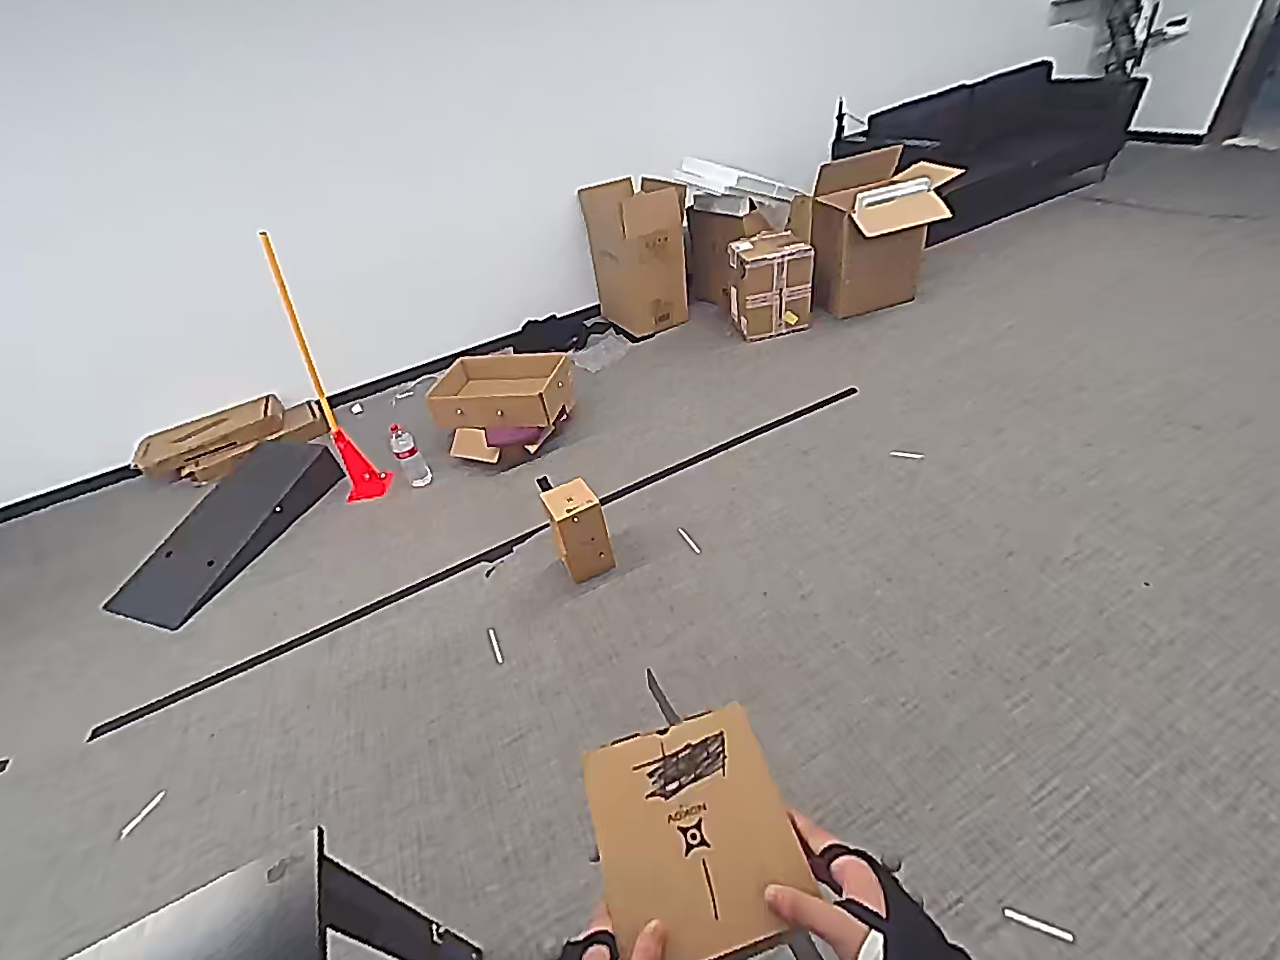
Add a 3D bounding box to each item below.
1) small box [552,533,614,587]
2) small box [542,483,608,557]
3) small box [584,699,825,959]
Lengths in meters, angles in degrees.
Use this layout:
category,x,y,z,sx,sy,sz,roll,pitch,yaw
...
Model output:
category,x,y,z,sx,sy,sz,roll,pitch,yaw
small box,-0.210,0.270,2.049,0.179,0.176,0.168,-25,39,-14
small box,-0.234,0.144,1.946,0.168,0.176,0.179,-25,39,-16
small box,0.051,0.350,0.523,0.168,0.176,0.179,-15,45,-8
